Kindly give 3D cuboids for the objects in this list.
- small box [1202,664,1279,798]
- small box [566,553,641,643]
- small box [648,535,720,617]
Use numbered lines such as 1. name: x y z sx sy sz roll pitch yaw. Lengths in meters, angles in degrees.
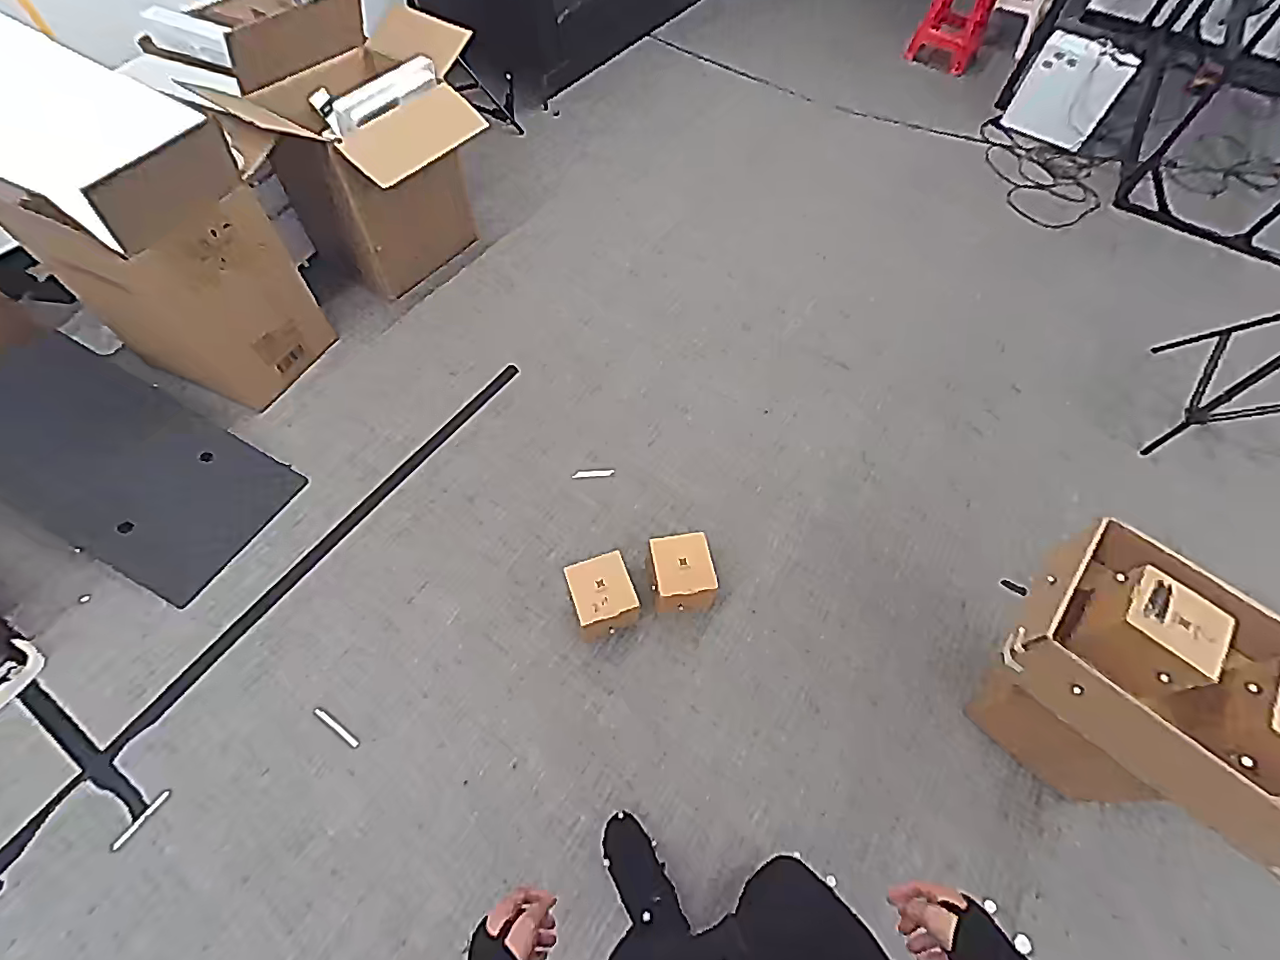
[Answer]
1. small box: 1.246 0.478 1.034 0.168 0.176 0.179 38 61 20
2. small box: -0.105 0.338 1.536 0.168 0.176 0.179 -17 62 -12
3. small box: 0.121 0.283 1.584 0.168 0.176 0.179 -8 61 -8
